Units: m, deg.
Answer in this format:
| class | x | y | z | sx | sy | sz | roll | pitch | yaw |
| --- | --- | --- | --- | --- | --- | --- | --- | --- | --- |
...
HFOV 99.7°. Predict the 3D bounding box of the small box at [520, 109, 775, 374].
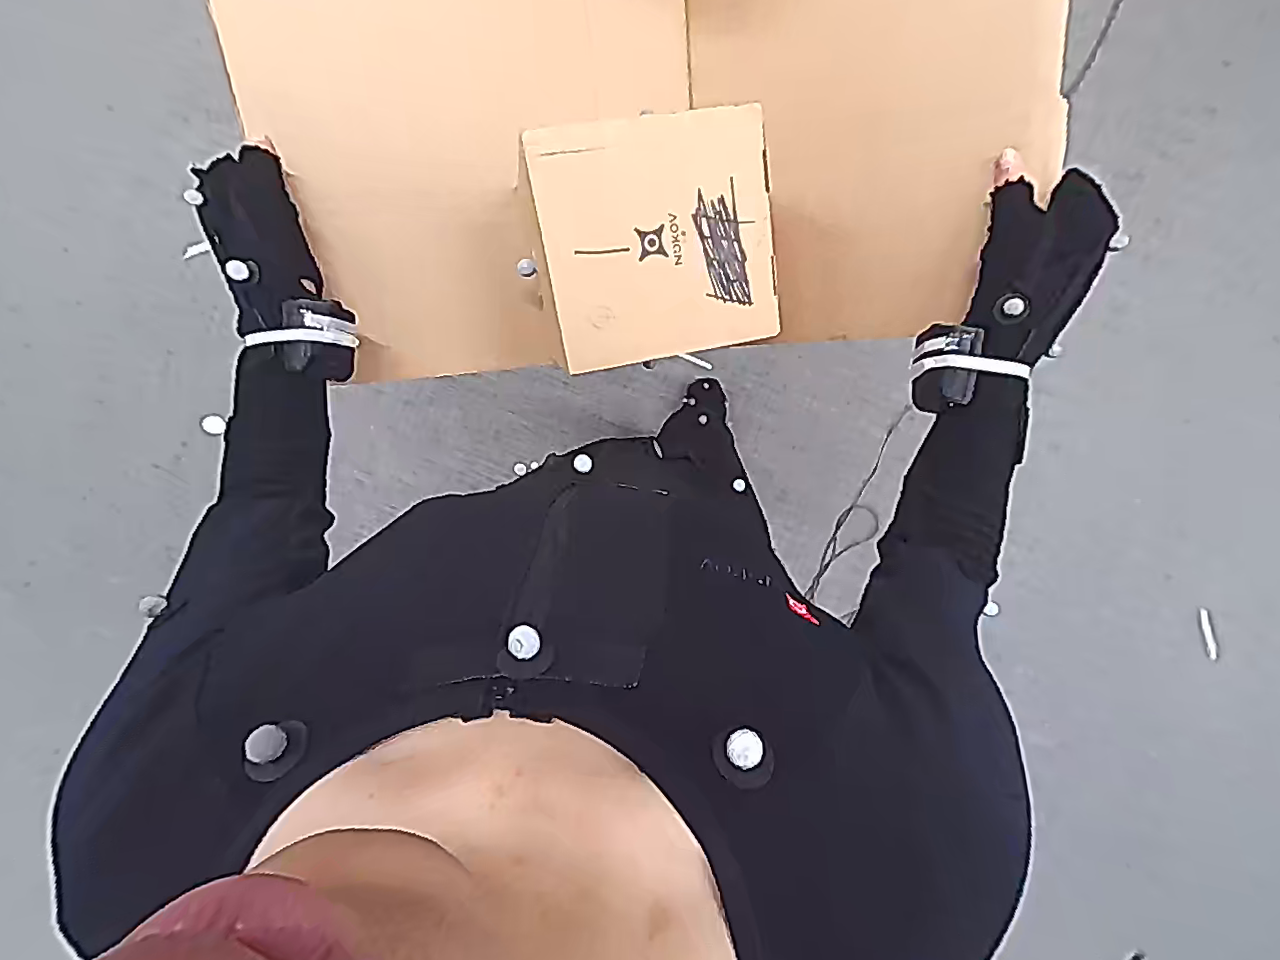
| class | x | y | z | sx | sy | sz | roll | pitch | yaw |
| --- | --- | --- | --- | --- | --- | --- | --- | --- | --- |
| small box | -0.002 | -0.198 | 0.478 | 0.179 | 0.176 | 0.168 | -13 | 109 | -9 |
